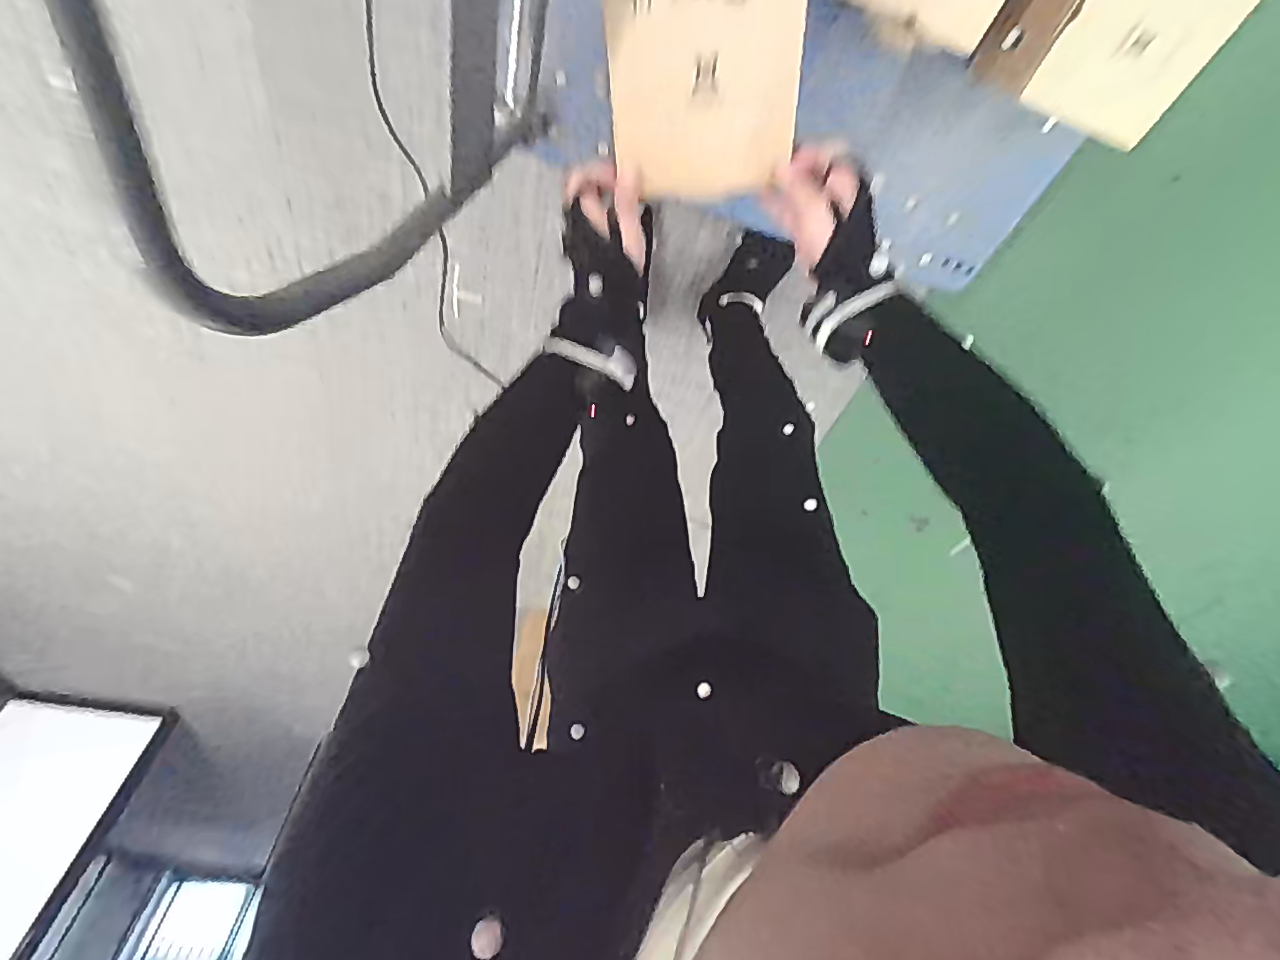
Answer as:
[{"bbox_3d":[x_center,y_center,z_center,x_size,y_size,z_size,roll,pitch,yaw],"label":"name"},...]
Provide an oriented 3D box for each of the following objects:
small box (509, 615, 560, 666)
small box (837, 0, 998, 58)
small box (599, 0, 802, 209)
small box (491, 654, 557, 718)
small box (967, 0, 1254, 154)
[{"bbox_3d":[-0.426,0.667,2.177,0.168,0.176,0.179,18,134,-13],"label":"small box"},{"bbox_3d":[0.324,-0.616,0.600,0.168,0.176,0.179,17,134,-12],"label":"small box"},{"bbox_3d":[0.048,-0.384,0.533,0.168,0.176,0.179,-4,128,-1],"label":"small box"},{"bbox_3d":[-0.438,0.789,2.081,0.168,0.176,0.179,-28,128,25],"label":"small box"},{"bbox_3d":[0.549,-0.538,0.662,0.179,0.176,0.168,15,135,-10],"label":"small box"}]
